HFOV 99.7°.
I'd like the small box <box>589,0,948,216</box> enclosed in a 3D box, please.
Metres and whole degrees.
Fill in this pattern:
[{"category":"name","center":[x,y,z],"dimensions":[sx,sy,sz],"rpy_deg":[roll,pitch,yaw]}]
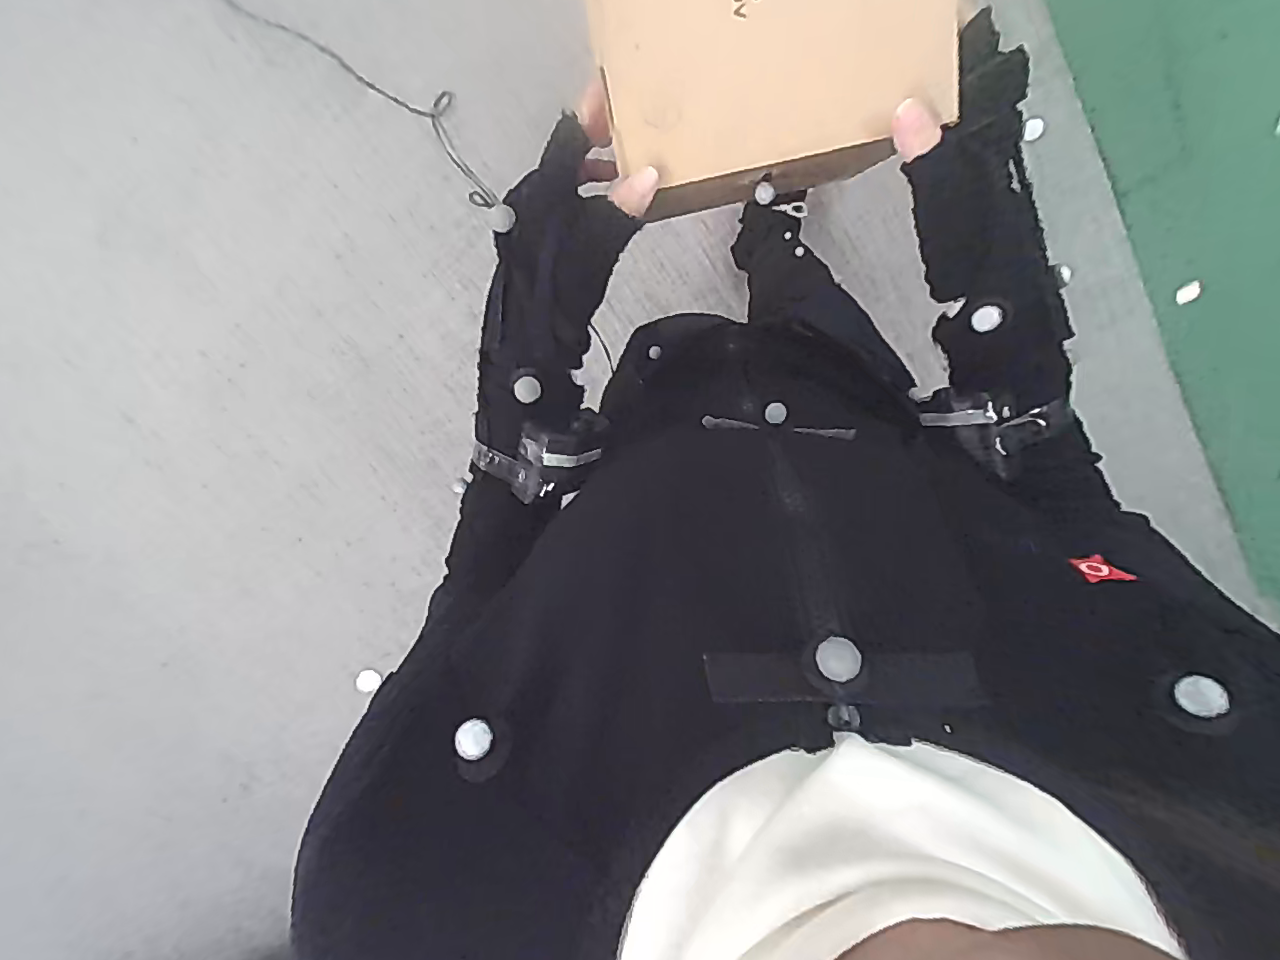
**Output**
[{"category":"small box","center":[0.063,-0.281,0.343],"dimensions":[0.179,0.176,0.168],"rpy_deg":[-12,109,5]}]
